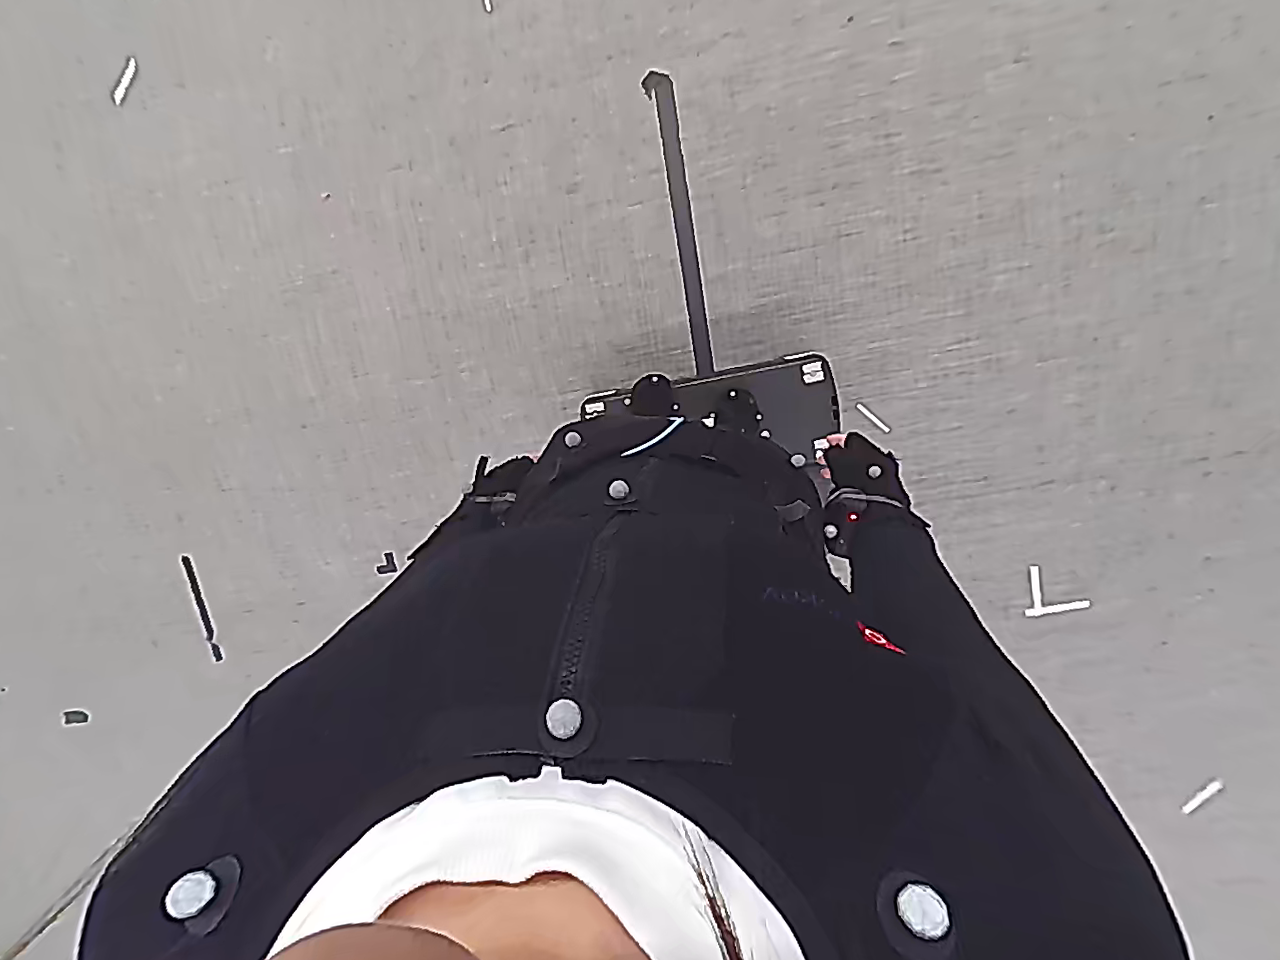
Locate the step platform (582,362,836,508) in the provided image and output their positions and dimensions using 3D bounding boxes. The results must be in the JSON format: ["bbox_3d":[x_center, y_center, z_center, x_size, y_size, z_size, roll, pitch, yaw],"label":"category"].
[{"bbox_3d":[0.183,-0.123,1.503,0.684,0.204,0.286,-11,101,7],"label":"step platform"}]
